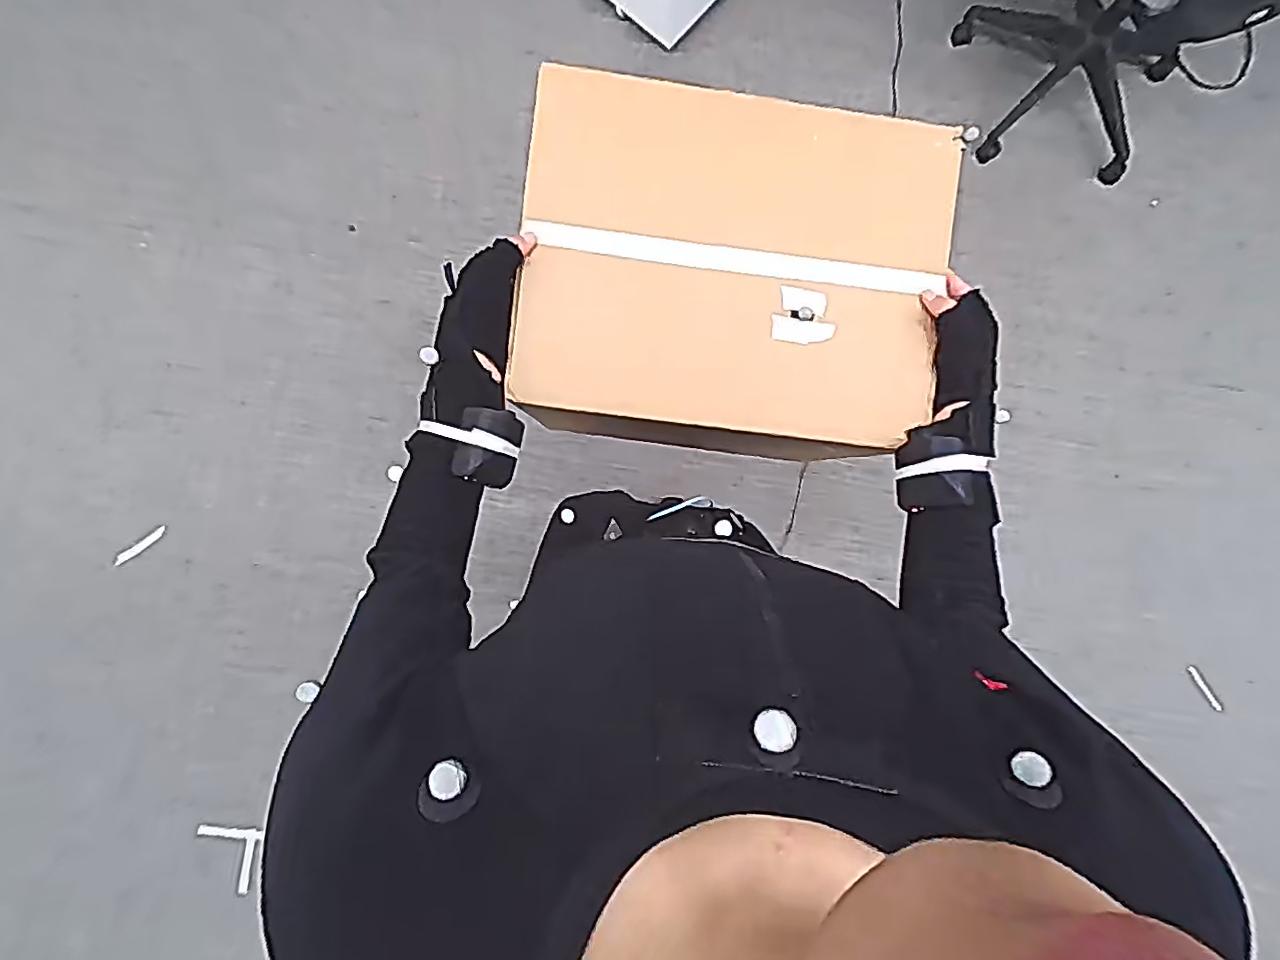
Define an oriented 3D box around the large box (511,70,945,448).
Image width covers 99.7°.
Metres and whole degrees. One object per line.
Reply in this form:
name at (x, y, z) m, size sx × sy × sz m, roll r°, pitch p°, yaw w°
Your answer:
large box at (0.078, -0.217, 0.670) m, size 0.408 × 0.320 × 0.320 m, roll 7°, pitch 92°, yaw -4°
